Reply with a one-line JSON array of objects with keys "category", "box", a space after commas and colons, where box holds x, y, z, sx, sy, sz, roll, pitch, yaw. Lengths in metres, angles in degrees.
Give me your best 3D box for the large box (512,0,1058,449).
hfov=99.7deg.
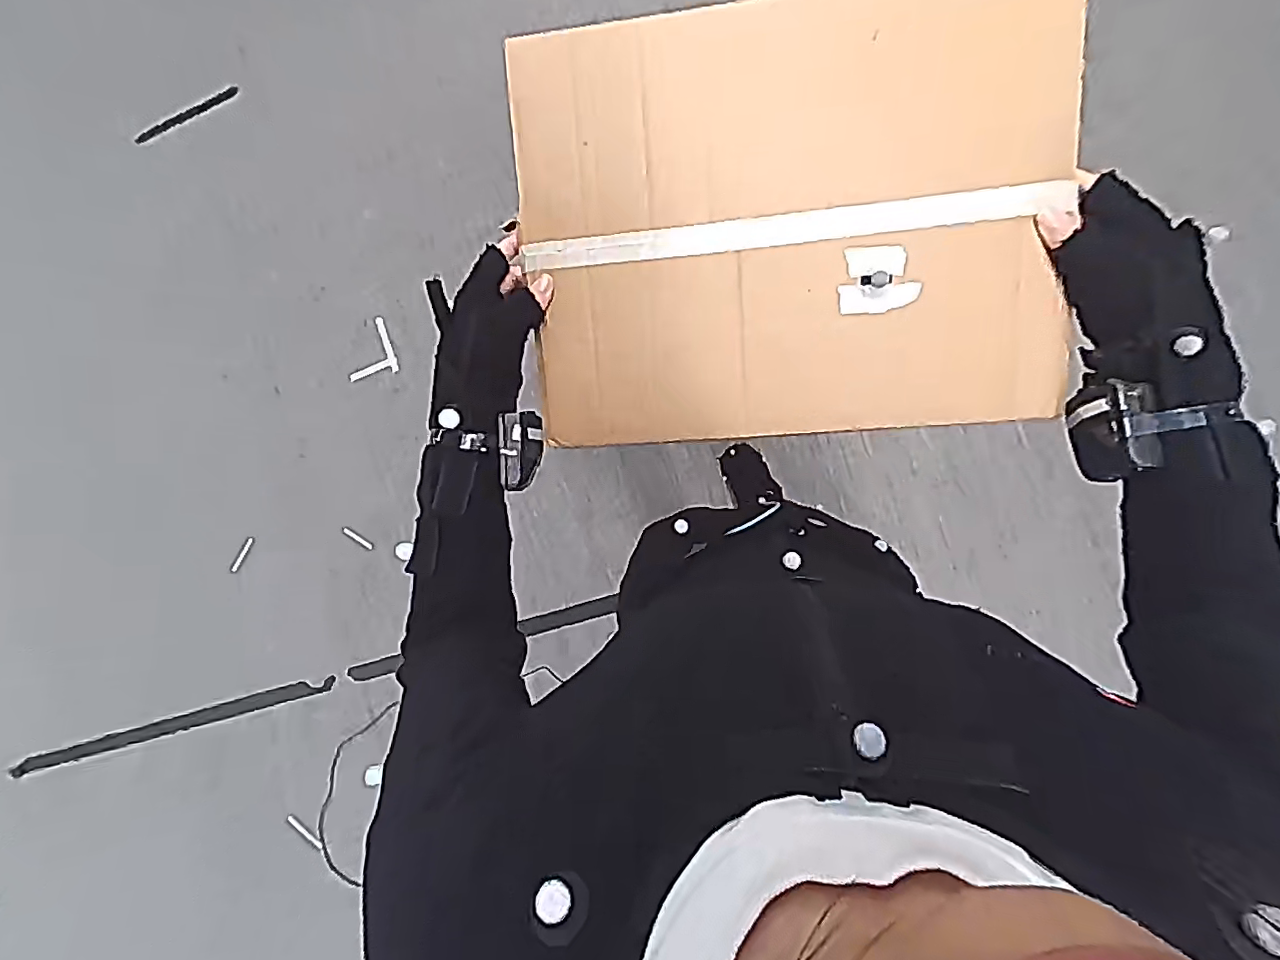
[{"category": "large box", "box": [0.124, -0.219, 0.570, 0.408, 0.320, 0.320, -5, 100, 7]}]
